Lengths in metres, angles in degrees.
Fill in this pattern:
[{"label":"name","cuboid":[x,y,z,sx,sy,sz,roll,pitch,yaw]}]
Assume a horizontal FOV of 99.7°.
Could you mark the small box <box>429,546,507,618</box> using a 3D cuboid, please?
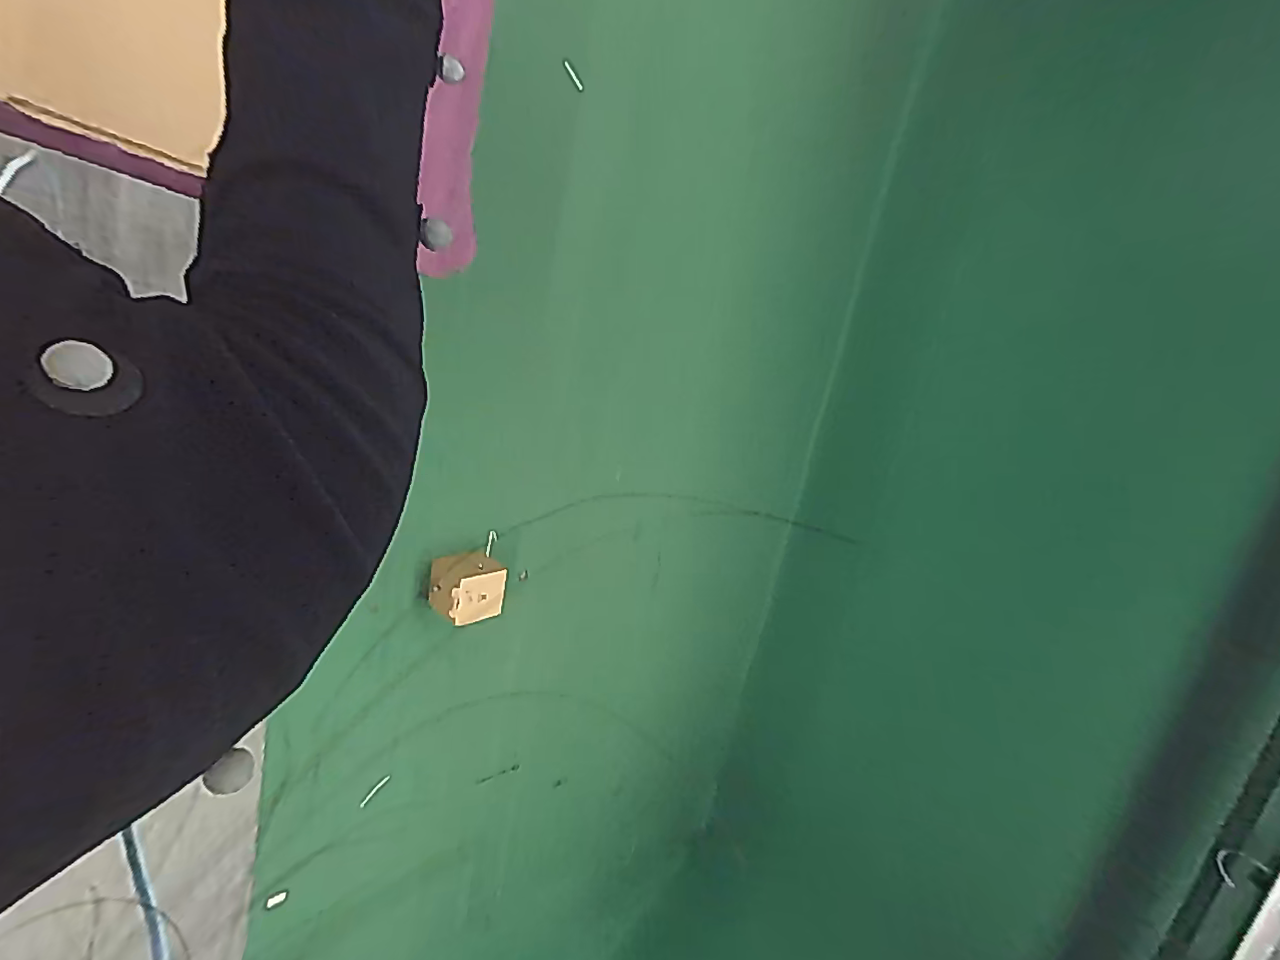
[{"label":"small box","cuboid":[-0.569,0.329,1.787,0.179,0.176,0.168,-4,110,-49]}]
